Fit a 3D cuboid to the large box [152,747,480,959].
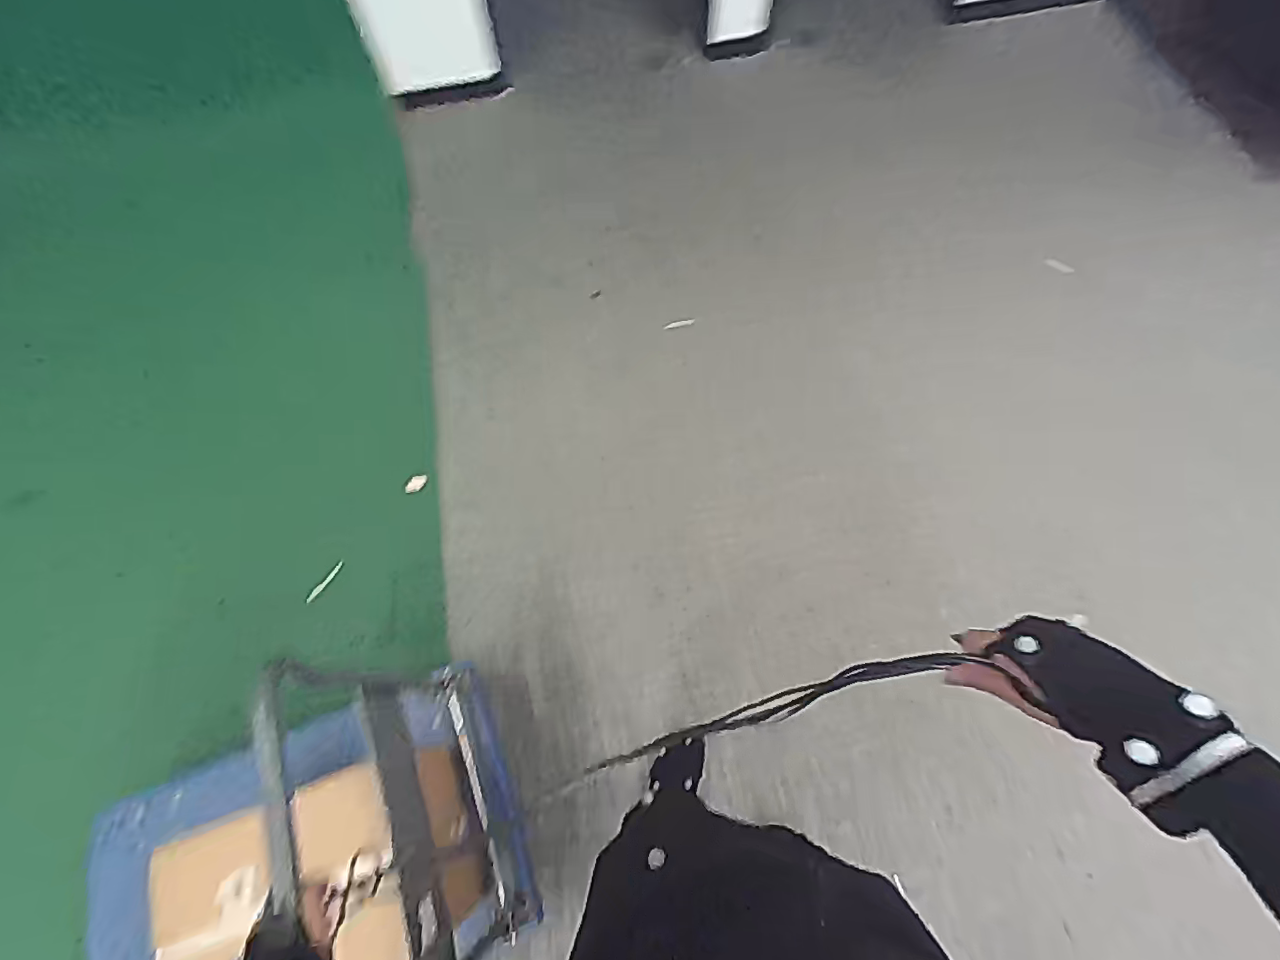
[{"bbox_3d":[-0.571,0.748,1.010,0.408,0.320,0.320,-21,68,-7],"label":"large box"}]
